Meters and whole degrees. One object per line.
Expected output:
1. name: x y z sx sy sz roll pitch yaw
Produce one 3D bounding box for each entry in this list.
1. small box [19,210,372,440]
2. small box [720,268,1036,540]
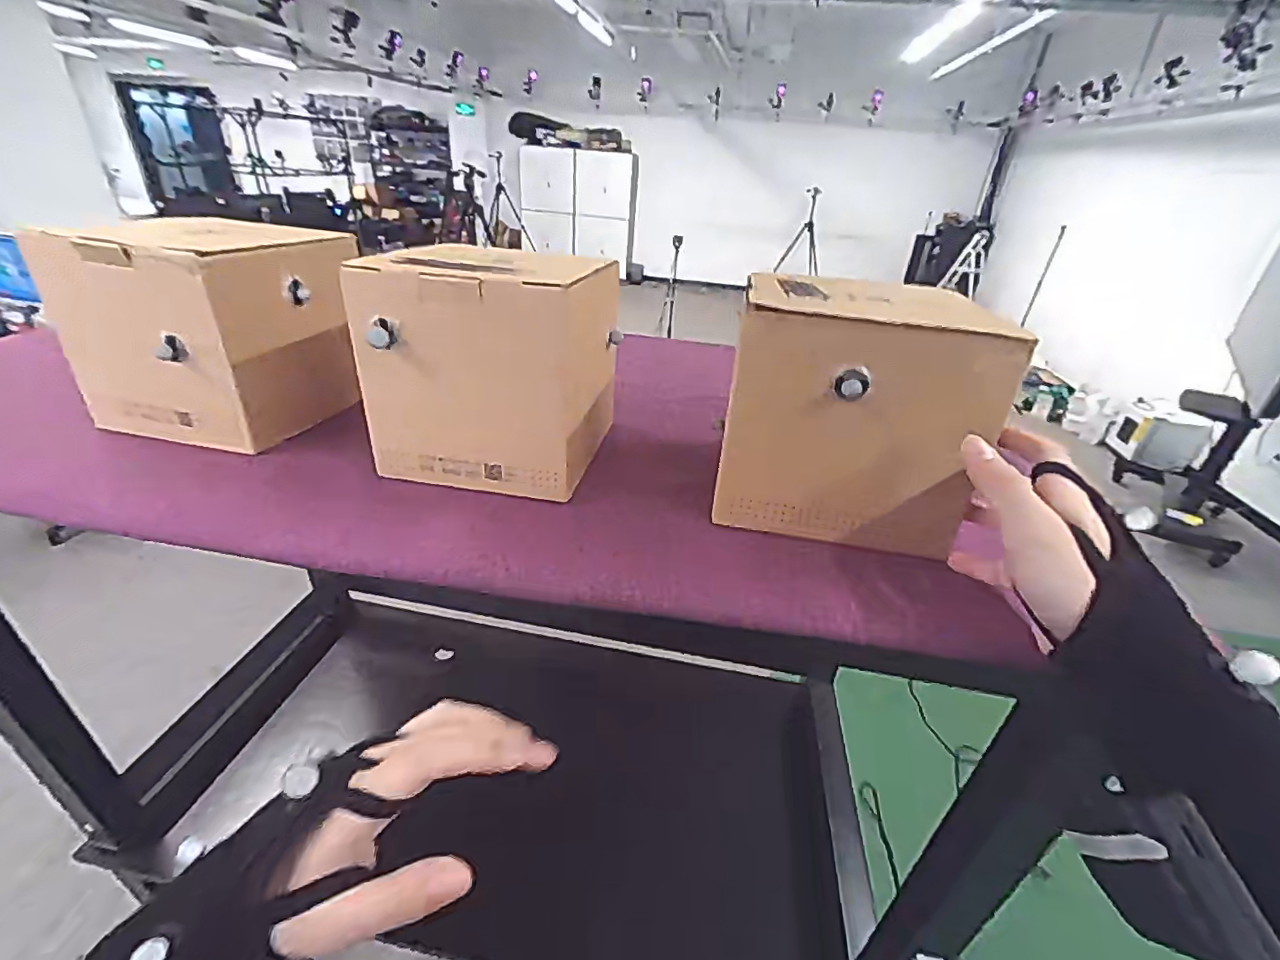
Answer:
1. small box: -0.380 -0.150 0.506 0.168 0.176 0.179 10 29 8
2. small box: 0.163 -0.069 0.439 0.179 0.176 0.168 8 29 7
